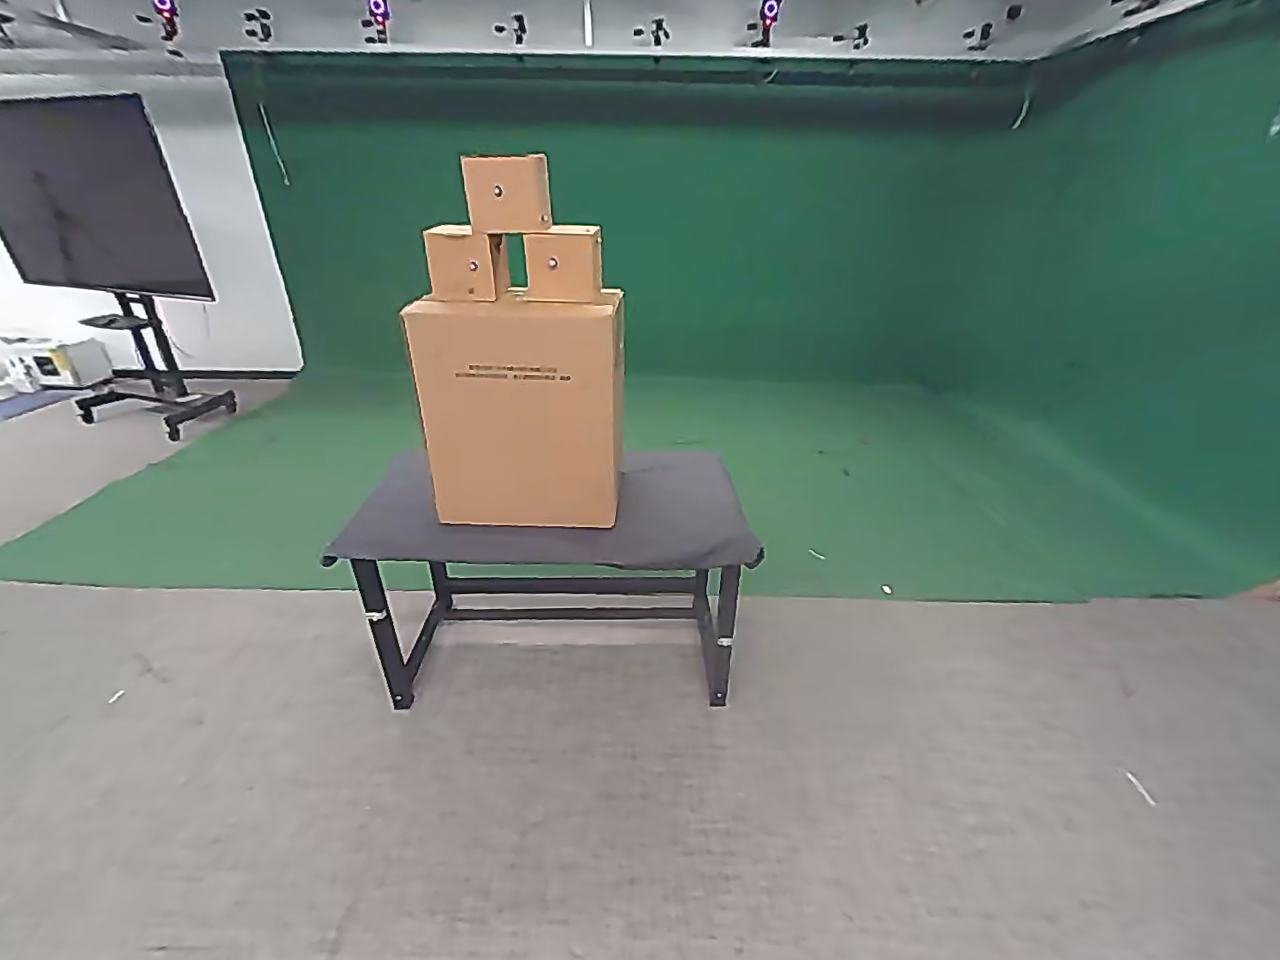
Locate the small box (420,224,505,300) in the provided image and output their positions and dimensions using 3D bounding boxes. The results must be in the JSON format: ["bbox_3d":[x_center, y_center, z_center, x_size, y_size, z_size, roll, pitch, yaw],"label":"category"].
[{"bbox_3d":[-0.464,-0.583,1.445,0.168,0.176,0.179,3,29,-1],"label":"small box"}]

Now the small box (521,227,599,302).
[{"bbox_3d":[-0.207,-0.577,1.444,0.179,0.176,0.168,2,31,2],"label":"small box"}]

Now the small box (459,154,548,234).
[{"bbox_3d":[-0.333,-0.723,1.363,0.179,0.176,0.168,0,30,1],"label":"small box"}]
